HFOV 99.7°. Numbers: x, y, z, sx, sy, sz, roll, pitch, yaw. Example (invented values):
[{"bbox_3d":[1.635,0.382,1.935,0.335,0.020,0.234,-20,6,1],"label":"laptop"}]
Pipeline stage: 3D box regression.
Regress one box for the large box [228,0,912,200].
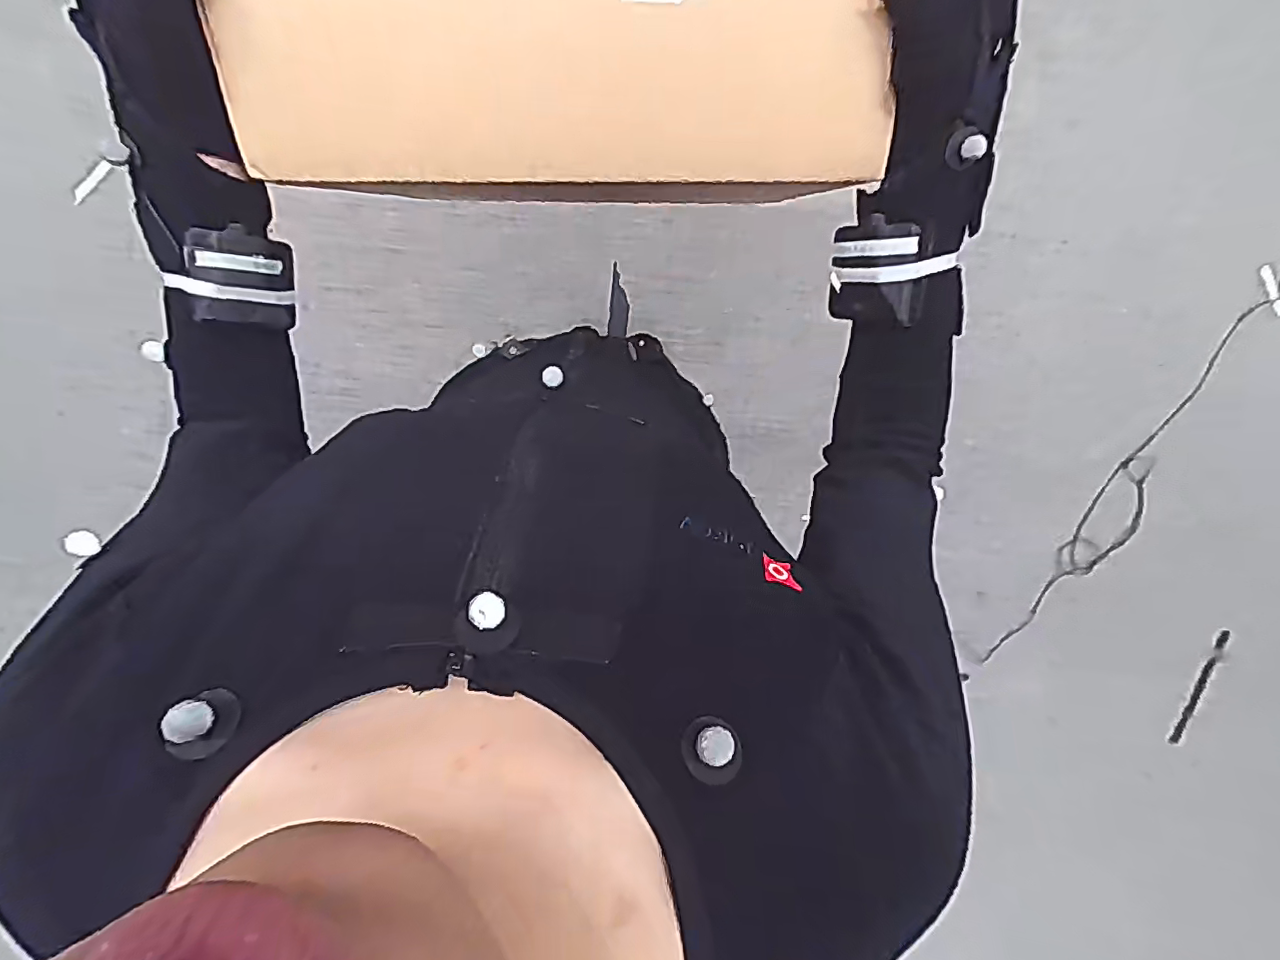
[{"bbox_3d":[-0.041,-0.402,0.419,0.408,0.320,0.320,0,116,1],"label":"large box"}]
